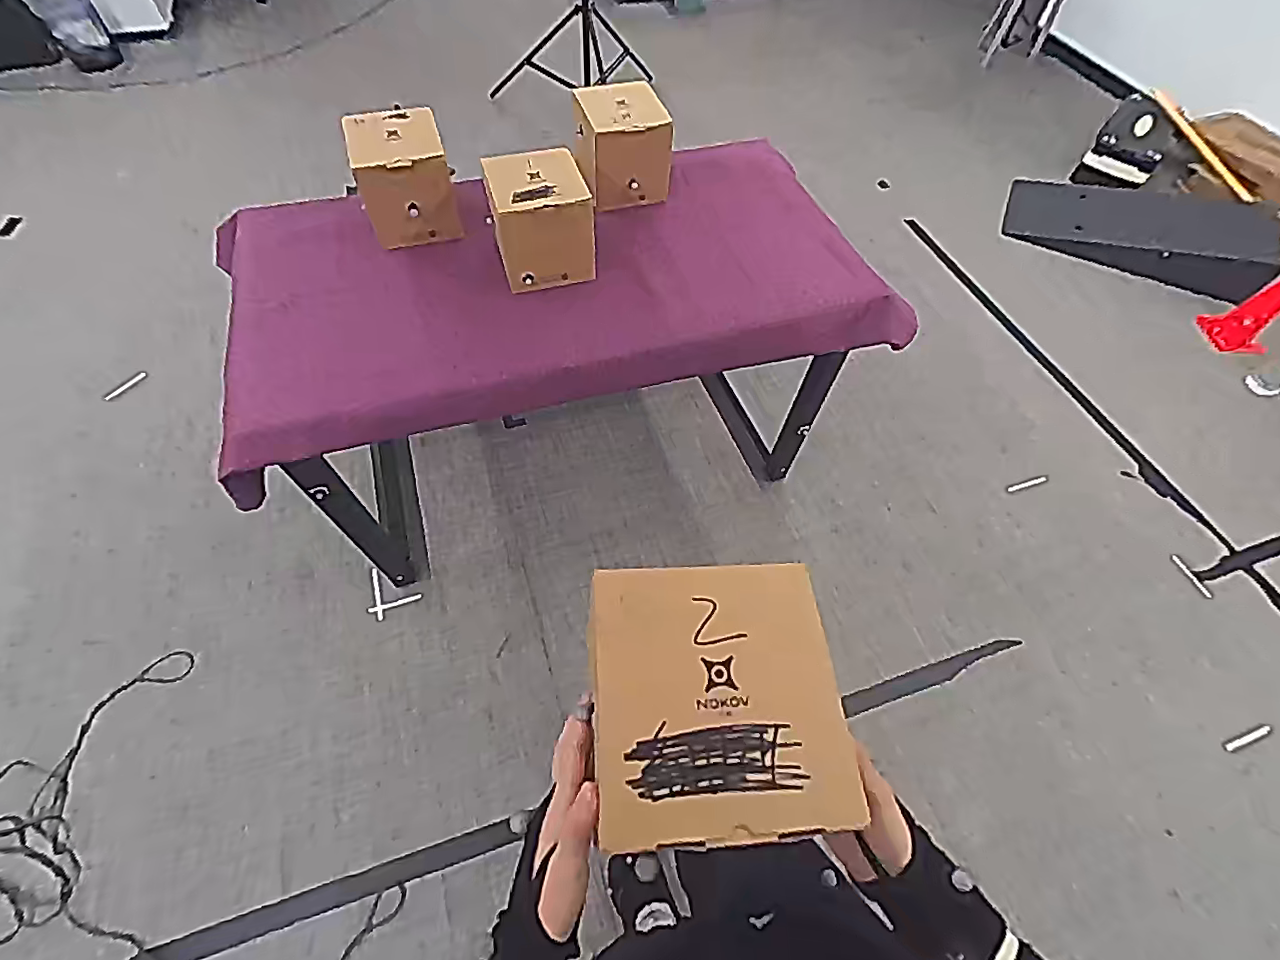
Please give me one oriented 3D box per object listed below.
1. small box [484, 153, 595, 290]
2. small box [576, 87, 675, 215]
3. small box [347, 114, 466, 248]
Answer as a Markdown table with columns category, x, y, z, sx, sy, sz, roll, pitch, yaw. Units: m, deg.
| category | x | y | z | sx | sy | sz | roll | pitch | yaw |
| --- | --- | --- | --- | --- | --- | --- | --- | --- | --- |
| small box | -0.185 | -0.482 | 1.027 | 0.168 | 0.176 | 0.179 | -15 | 60 | -12 |
| small box | -0.037 | -0.709 | 1.170 | 0.168 | 0.176 | 0.179 | -15 | 62 | -11 |
| small box | -0.456 | -0.584 | 1.073 | 0.168 | 0.176 | 0.179 | -15 | 63 | -12 |
